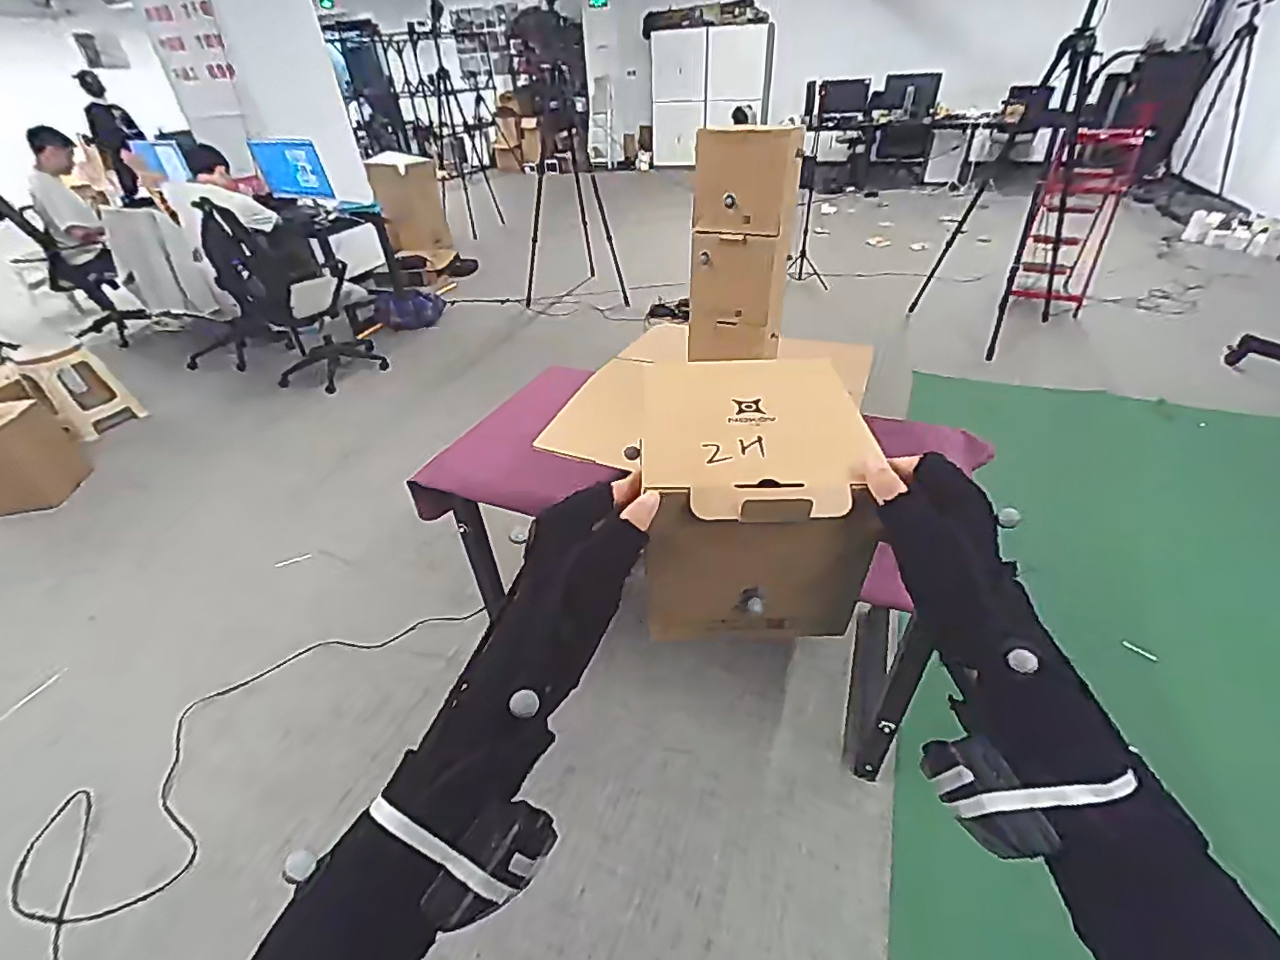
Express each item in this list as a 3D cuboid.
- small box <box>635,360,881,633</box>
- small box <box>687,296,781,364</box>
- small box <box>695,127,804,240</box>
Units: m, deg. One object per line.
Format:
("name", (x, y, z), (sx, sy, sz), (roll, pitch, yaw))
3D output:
("small box", (0.082, 0.011, 0.472), (0.168, 0.176, 0.179), (-2, 40, 2))
("small box", (0.211, -0.300, 1.219), (0.168, 0.176, 0.179), (13, 38, 20))
("small box", (0.206, -0.571, 1.035), (0.168, 0.176, 0.179), (12, 37, 18))
